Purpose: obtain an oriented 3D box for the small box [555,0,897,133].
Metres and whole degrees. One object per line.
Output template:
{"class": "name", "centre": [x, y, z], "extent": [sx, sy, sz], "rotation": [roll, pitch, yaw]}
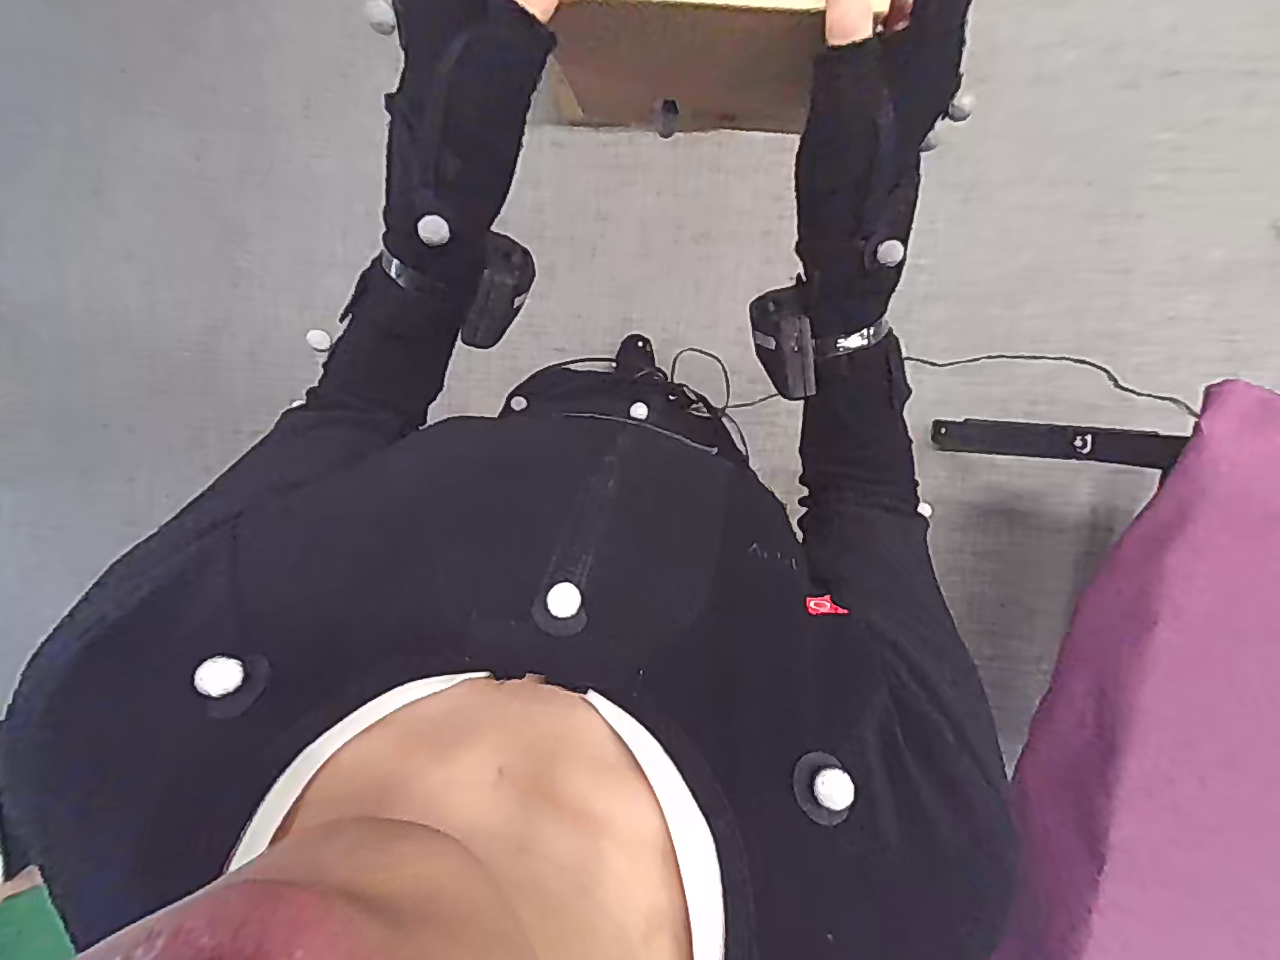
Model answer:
{"class": "small box", "centre": [0.044, -0.317, 0.290], "extent": [0.168, 0.176, 0.179], "rotation": [6, 108, 3]}
